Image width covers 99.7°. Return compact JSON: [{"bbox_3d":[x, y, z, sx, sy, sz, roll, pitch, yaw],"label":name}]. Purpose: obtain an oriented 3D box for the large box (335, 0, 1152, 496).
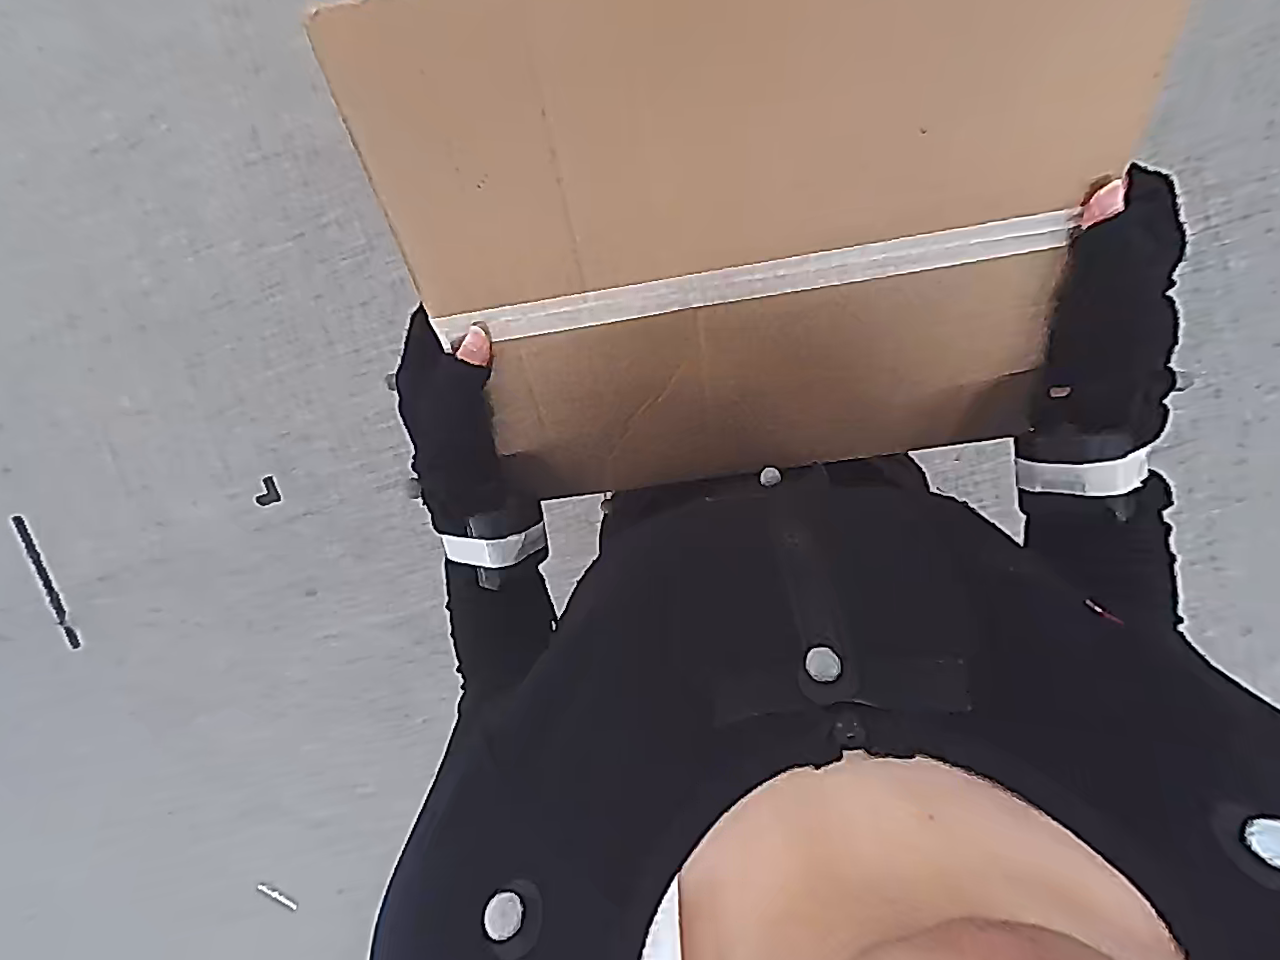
[{"bbox_3d":[0.064,-0.226,0.455,0.408,0.320,0.320,-8,131,5],"label":"large box"}]
